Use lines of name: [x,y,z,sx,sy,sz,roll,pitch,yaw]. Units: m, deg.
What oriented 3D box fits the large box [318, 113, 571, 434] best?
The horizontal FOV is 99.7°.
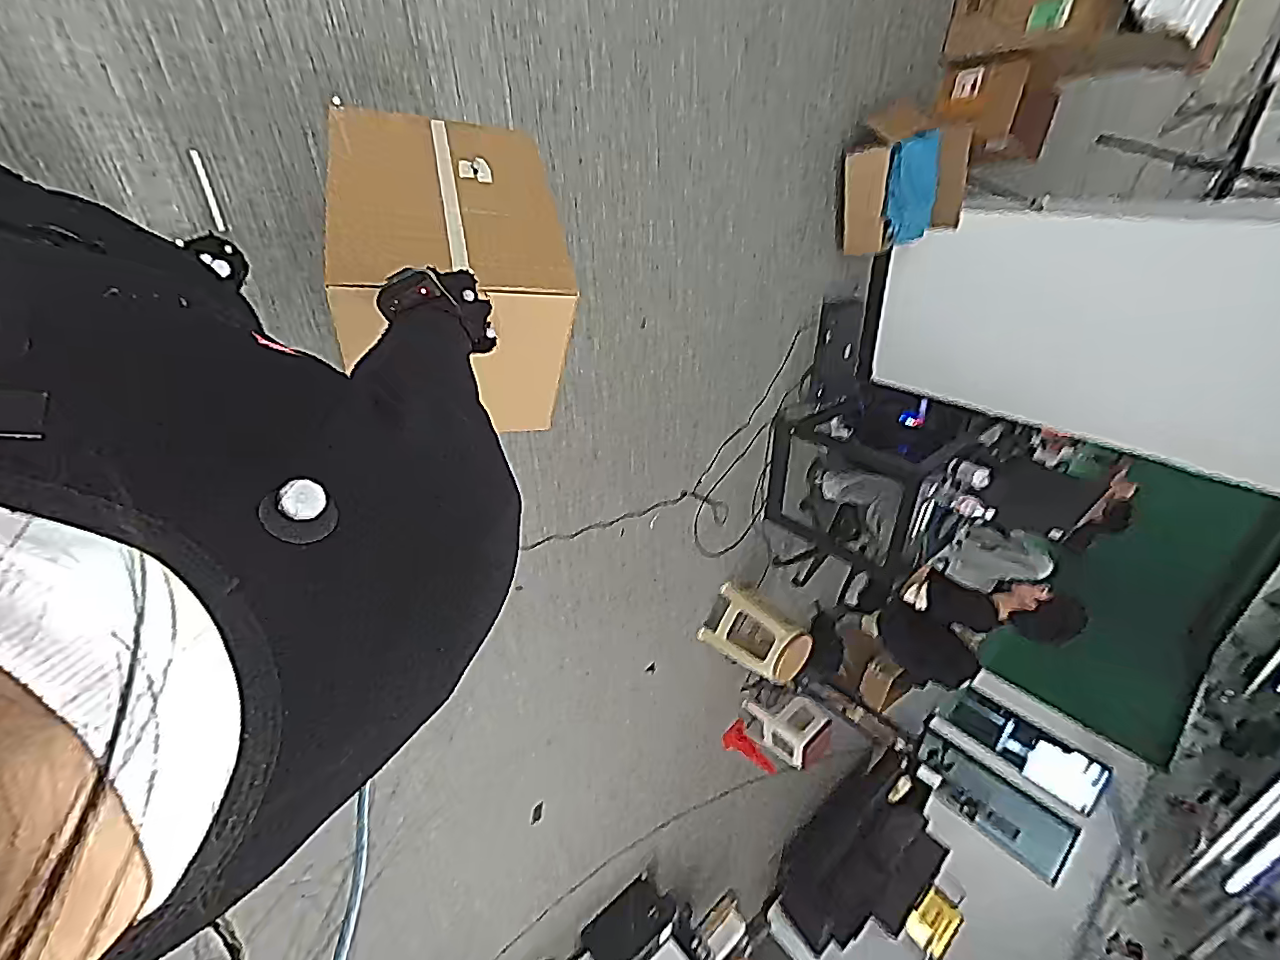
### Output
large box: [-0.332,-0.335,0.914,0.320,0.408,0.320,-6,150,-23]
